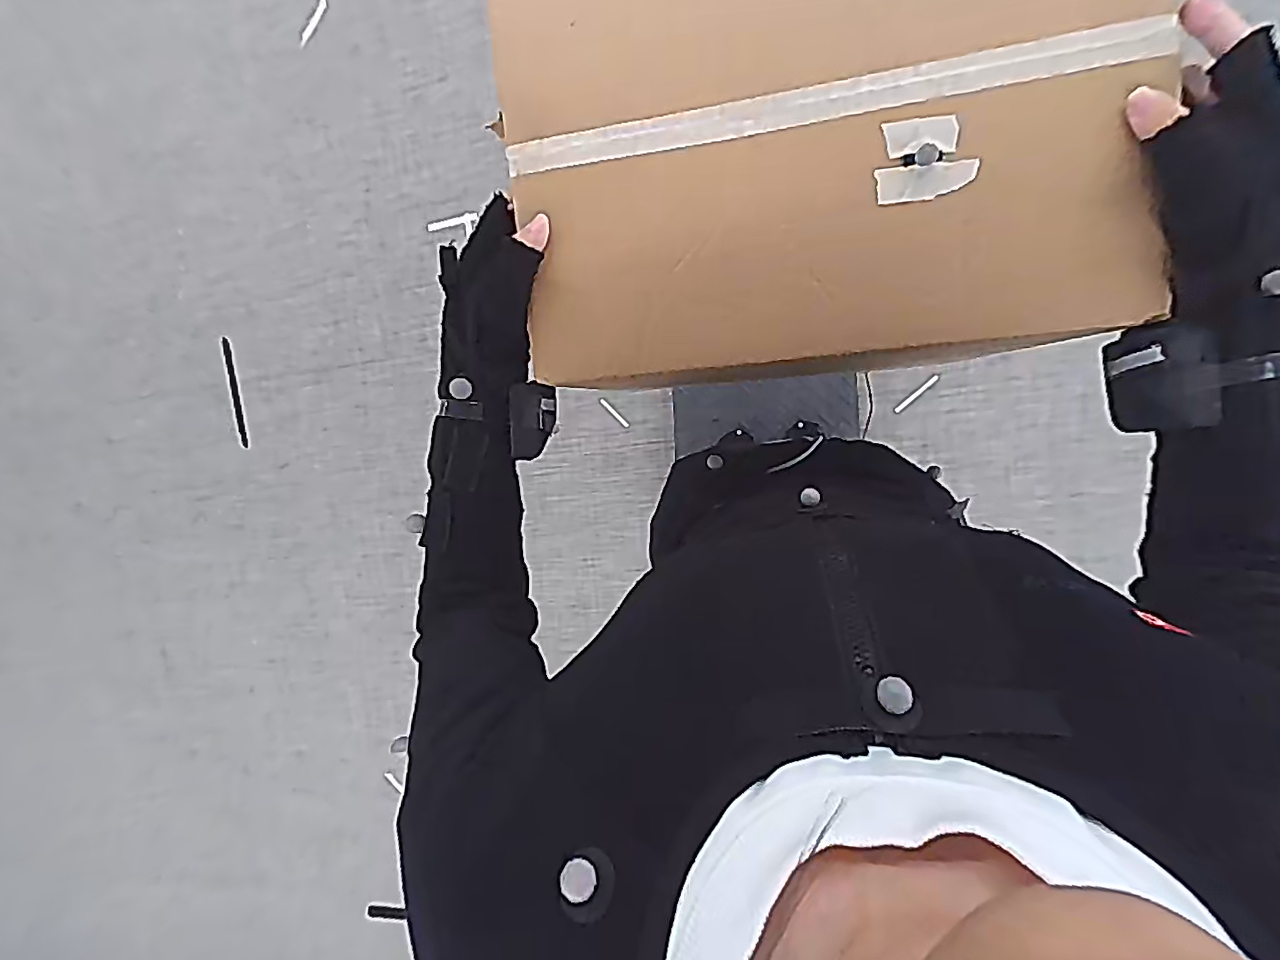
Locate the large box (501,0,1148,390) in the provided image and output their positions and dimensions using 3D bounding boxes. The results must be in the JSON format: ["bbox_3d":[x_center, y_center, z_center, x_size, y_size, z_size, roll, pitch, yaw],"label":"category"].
[{"bbox_3d":[0.131,-0.265,0.505,0.408,0.320,0.320,-4,98,10],"label":"large box"}]
